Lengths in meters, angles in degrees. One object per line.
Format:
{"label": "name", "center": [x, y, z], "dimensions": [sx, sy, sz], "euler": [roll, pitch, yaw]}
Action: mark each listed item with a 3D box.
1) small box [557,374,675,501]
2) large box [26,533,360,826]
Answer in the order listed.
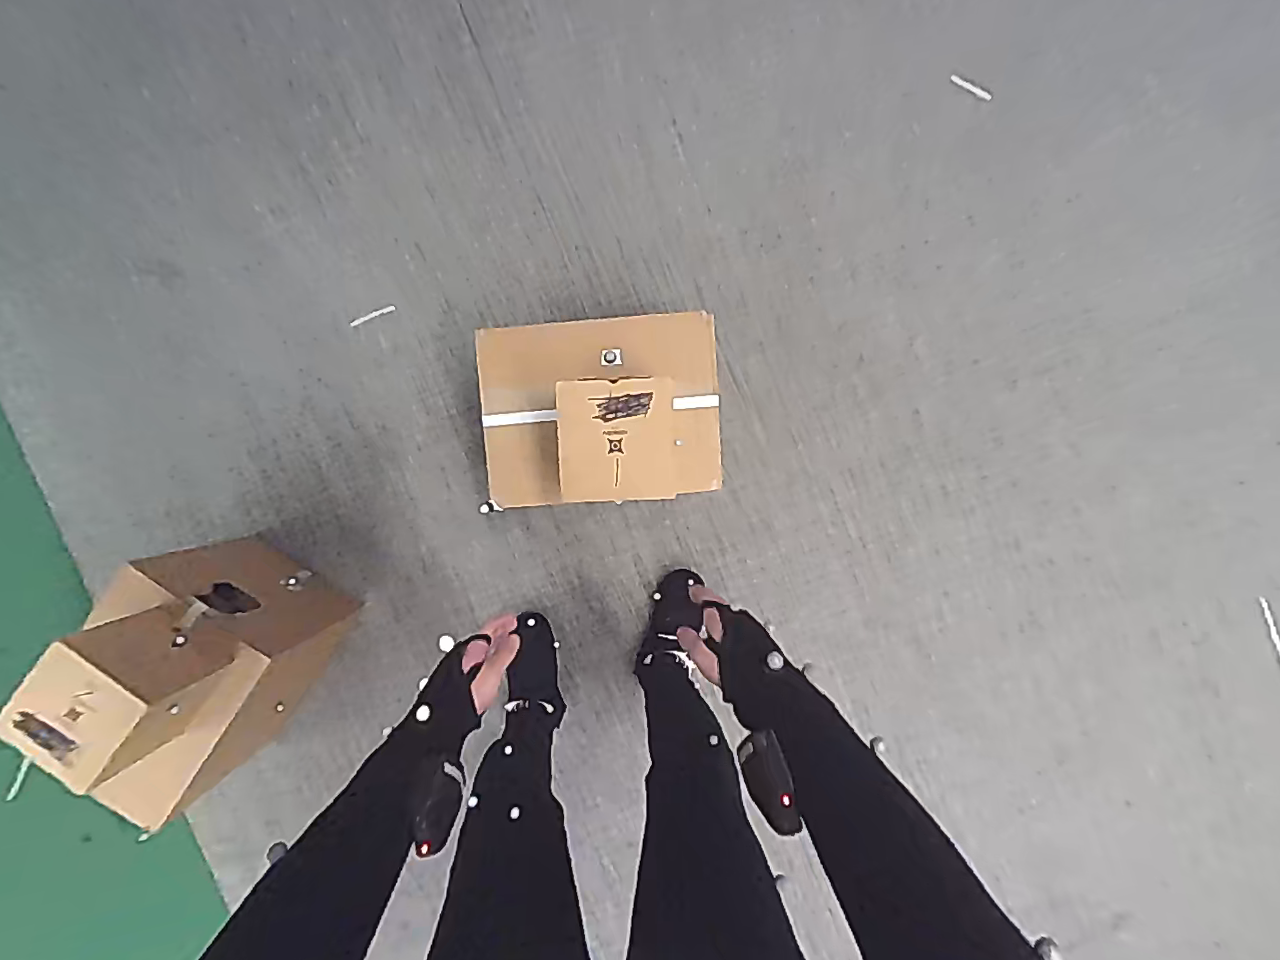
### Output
{"label": "small box", "center": [-0.034, -0.064, 0.837], "dimensions": [0.168, 0.176, 0.179], "euler": [-2, 95, 1]}
{"label": "large box", "center": [-0.880, 0.375, 1.119], "dimensions": [0.320, 0.320, 0.408], "euler": [35, 94, 0]}
